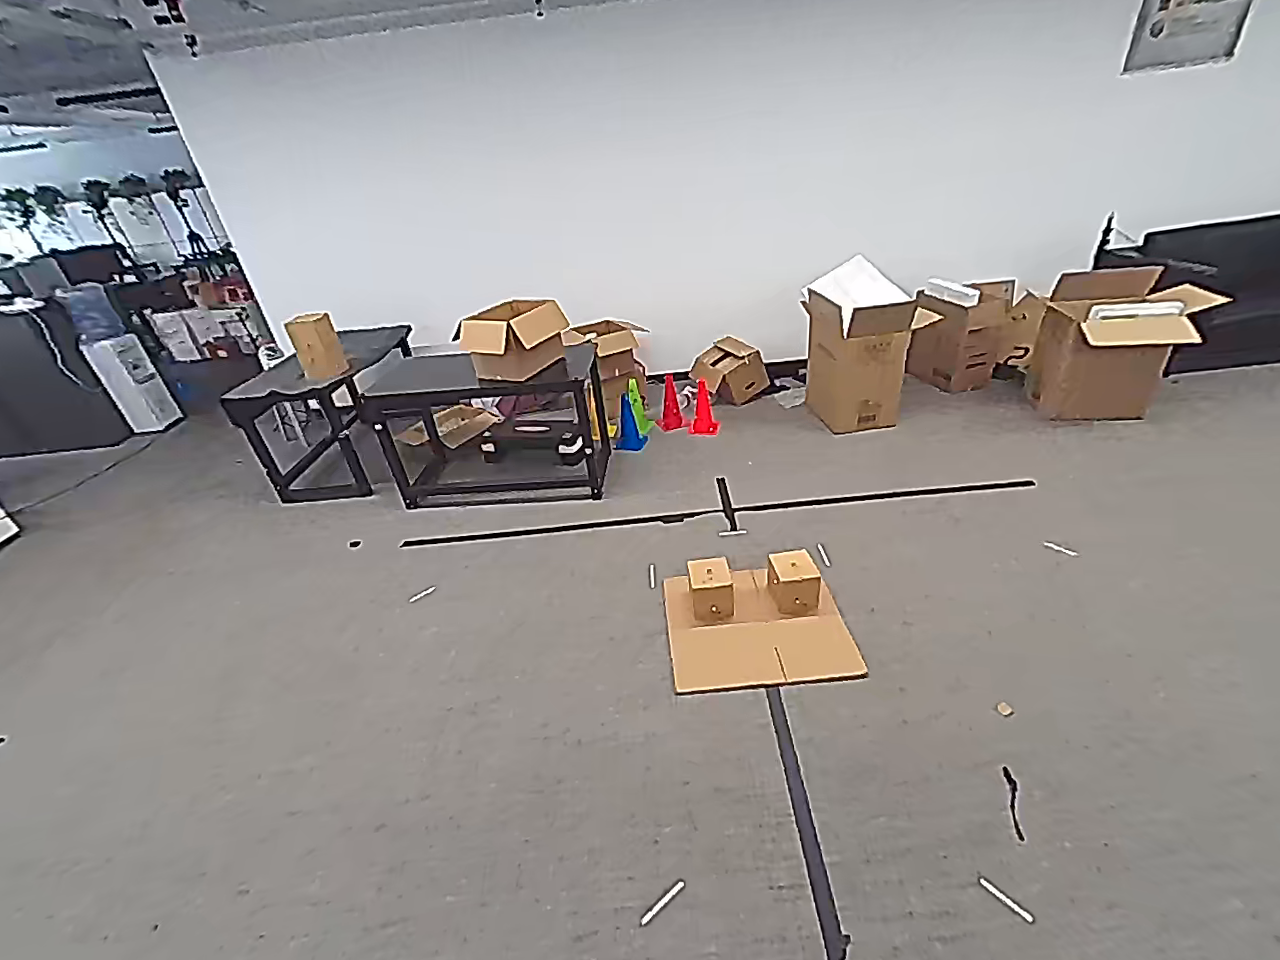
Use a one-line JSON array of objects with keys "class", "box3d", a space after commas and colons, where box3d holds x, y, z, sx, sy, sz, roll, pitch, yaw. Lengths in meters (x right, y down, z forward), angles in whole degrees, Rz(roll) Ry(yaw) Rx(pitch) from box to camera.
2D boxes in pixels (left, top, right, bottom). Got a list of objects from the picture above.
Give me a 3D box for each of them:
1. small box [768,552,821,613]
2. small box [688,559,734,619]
[{"class": "small box", "box3d": [0.636, 0.426, 2.248, 0.168, 0.176, 0.179, -8, 31, -2]}, {"class": "small box", "box3d": [0.294, 0.456, 2.254, 0.168, 0.176, 0.179, -7, 31, 1]}]
